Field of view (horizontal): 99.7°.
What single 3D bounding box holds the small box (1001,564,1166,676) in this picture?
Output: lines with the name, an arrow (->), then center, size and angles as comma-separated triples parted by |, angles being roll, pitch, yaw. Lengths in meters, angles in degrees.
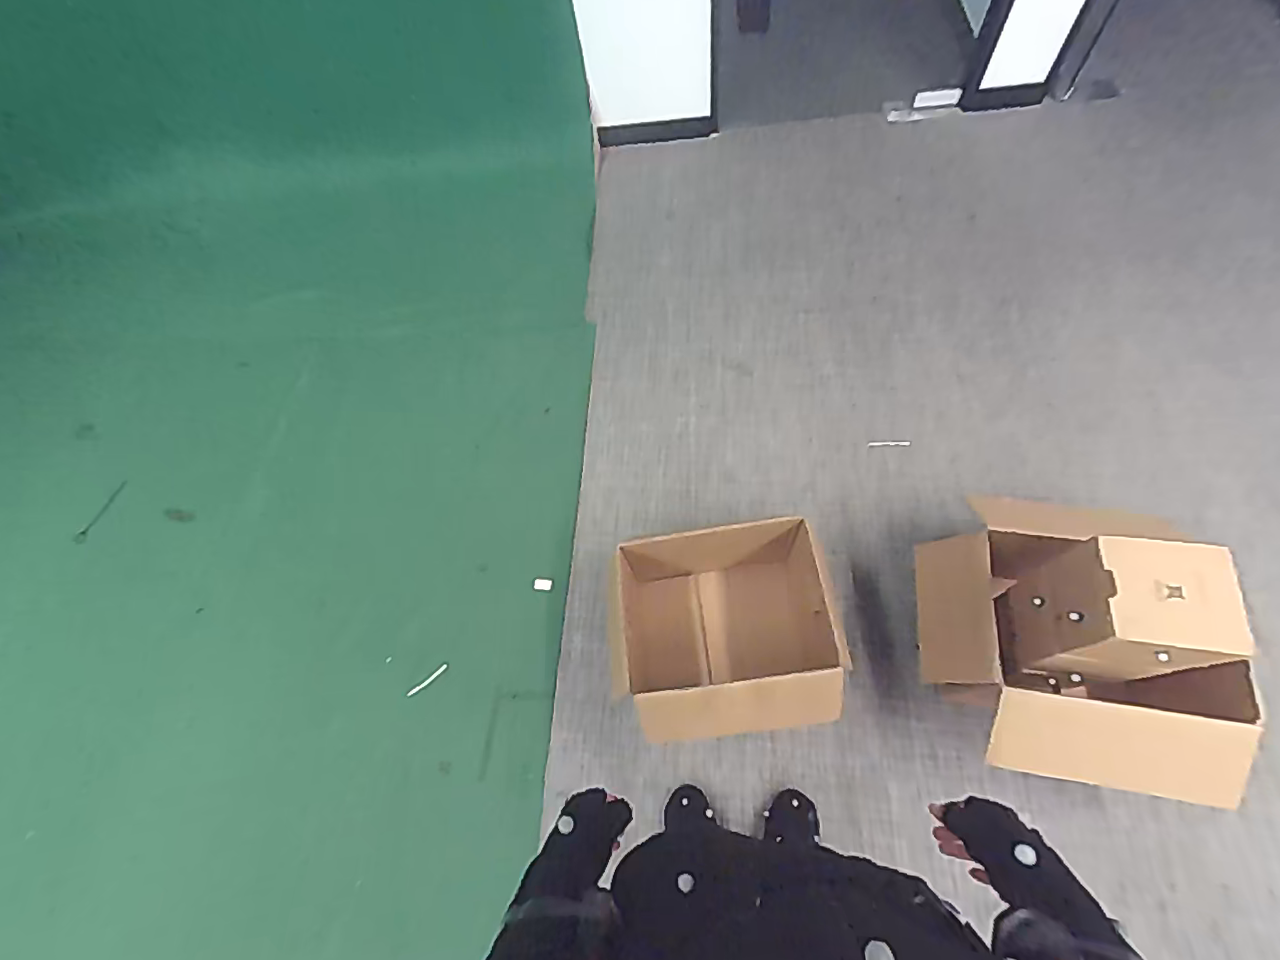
small box -> 0.835, 0.273, 1.039 | 0.179, 0.176, 0.168 | 5, 64, 12

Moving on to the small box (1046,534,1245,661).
small box -> 0.811, 0.199, 0.896 | 0.179, 0.176, 0.168 | 4, 67, 11
